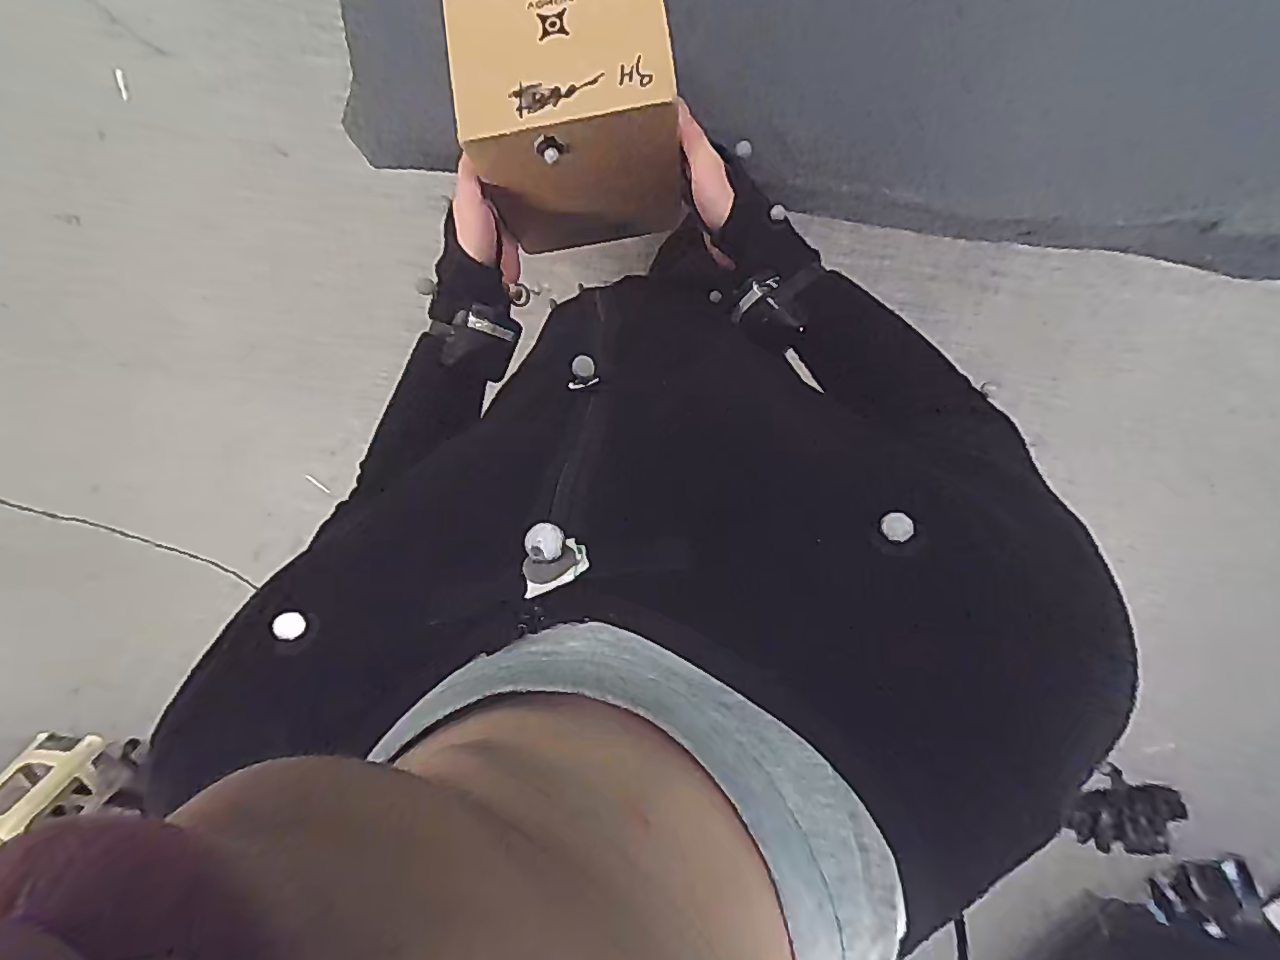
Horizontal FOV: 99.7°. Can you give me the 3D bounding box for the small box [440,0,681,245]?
[{"bbox_3d":[-0.058,-0.341,0.473,0.168,0.176,0.179,-9,84,6],"label":"small box"}]
